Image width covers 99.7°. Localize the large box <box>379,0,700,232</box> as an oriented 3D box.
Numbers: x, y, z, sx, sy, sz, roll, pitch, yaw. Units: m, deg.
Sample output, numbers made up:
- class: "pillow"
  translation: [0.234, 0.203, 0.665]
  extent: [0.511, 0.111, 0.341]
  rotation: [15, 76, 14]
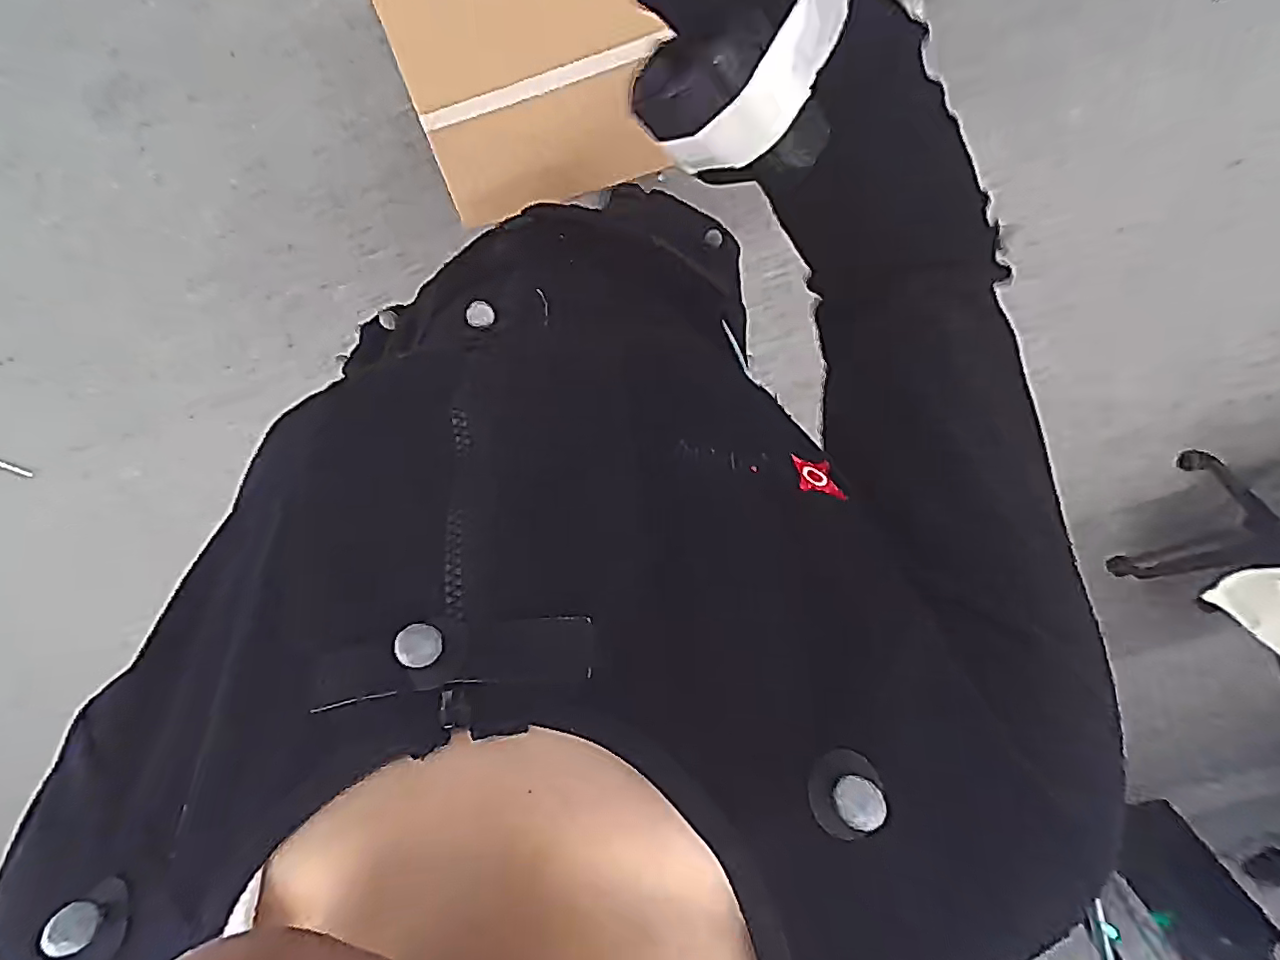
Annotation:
- class: "large box"
  translation: [-0.141, -0.663, 0.929]
  extent: [0.408, 0.320, 0.320]
  rotation: [-15, 119, 5]
